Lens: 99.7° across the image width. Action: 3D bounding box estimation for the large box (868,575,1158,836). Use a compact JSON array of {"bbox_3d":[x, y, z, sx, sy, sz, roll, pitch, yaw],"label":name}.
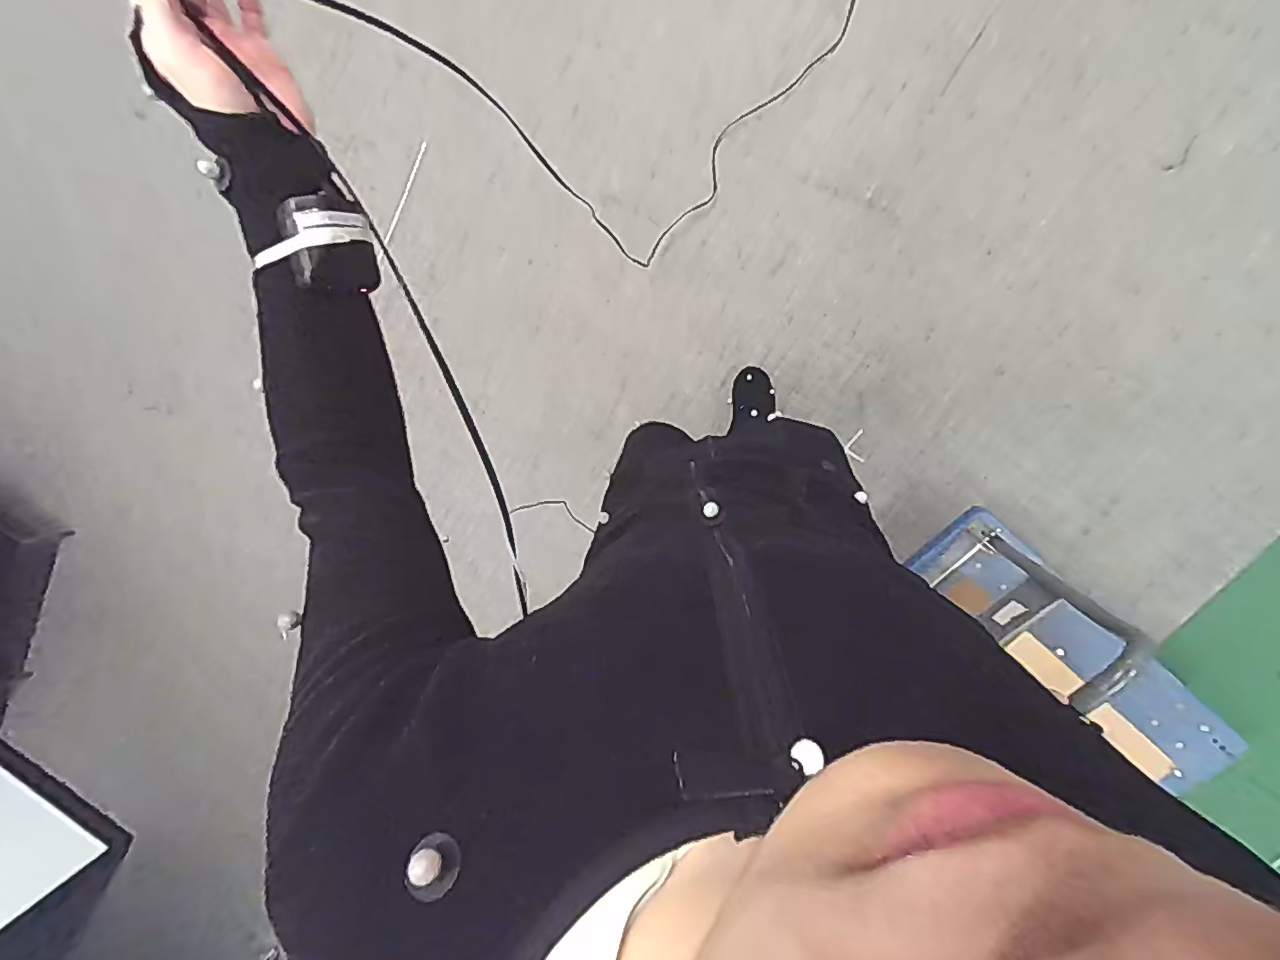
[{"bbox_3d":[0.823,0.500,1.269,0.408,0.320,0.320,42,106,1],"label":"large box"}]
